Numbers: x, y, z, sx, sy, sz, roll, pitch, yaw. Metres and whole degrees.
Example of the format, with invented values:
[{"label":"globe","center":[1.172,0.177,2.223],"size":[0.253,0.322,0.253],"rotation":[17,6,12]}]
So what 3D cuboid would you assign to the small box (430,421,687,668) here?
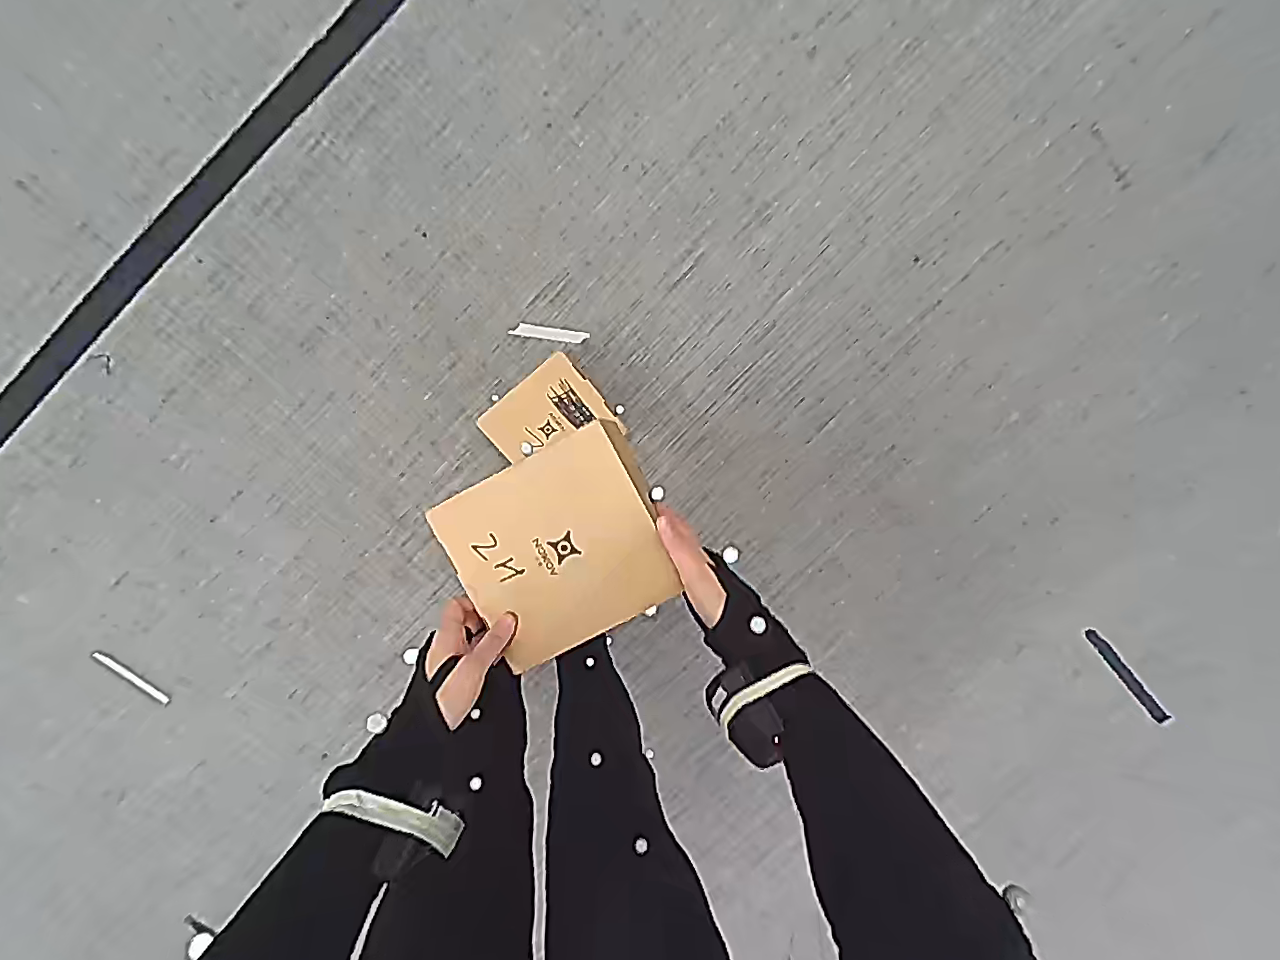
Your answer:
[{"label":"small box","center":[-0.069,0.049,0.549],"size":[0.179,0.176,0.168],"rotation":[-29,94,5]}]
